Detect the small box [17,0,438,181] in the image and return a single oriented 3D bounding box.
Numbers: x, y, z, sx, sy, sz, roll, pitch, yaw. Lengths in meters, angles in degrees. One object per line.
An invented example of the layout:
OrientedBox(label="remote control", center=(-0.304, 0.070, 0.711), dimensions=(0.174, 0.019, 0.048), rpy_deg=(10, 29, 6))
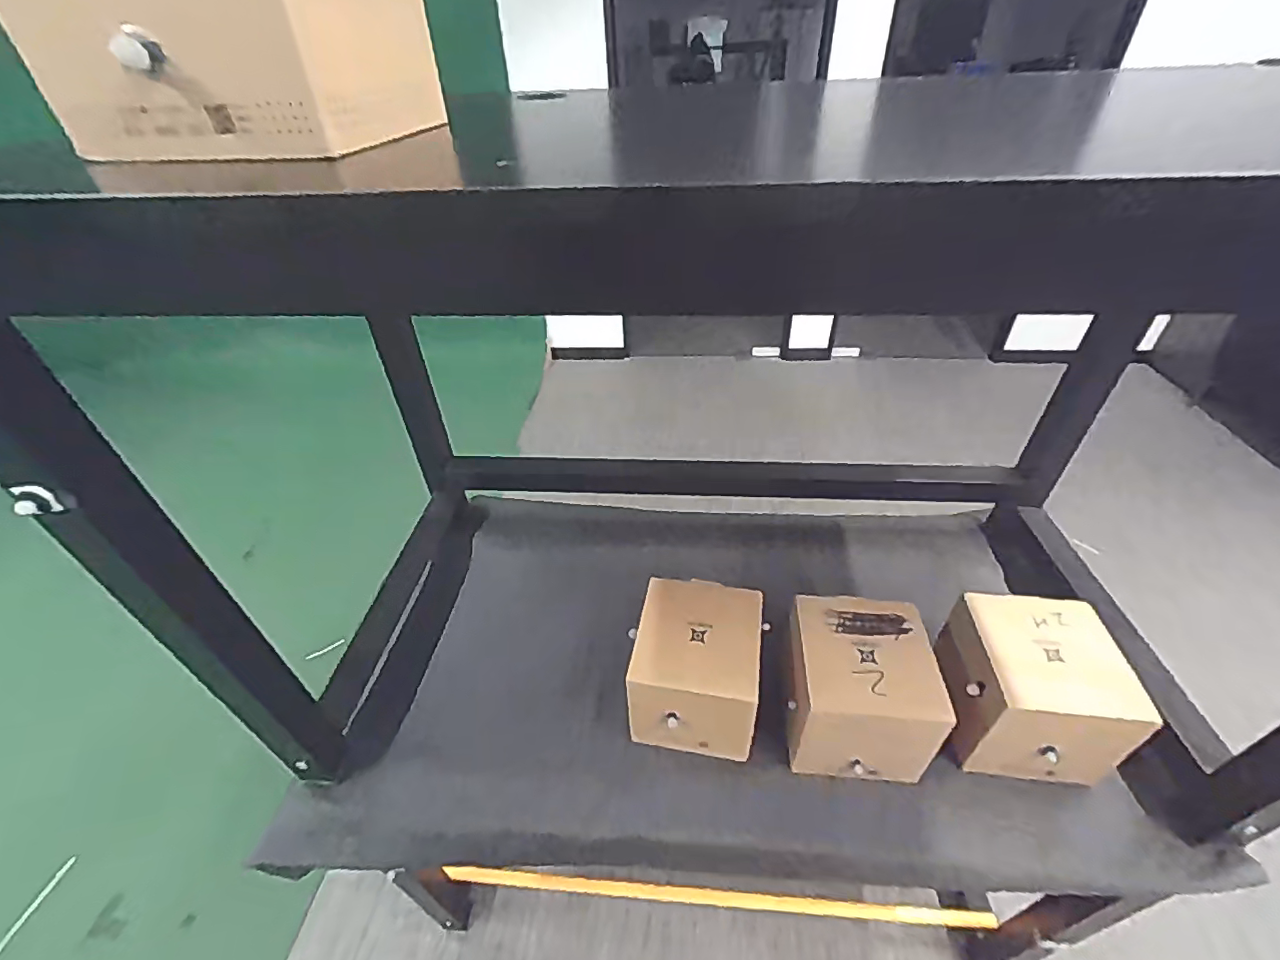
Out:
OrientedBox(label="small box", center=(-0.247, -0.300, 0.340), dimensions=(0.168, 0.176, 0.179), rpy_deg=(2, 40, 6))

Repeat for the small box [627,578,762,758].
OrientedBox(label="small box", center=(0.084, 0.270, 0.780), dimensions=(0.168, 0.176, 0.179), rpy_deg=(6, 39, 10))

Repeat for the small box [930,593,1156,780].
OrientedBox(label="small box", center=(0.523, 0.280, 0.737), dimensions=(0.168, 0.176, 0.179), rpy_deg=(3, 38, 7))
